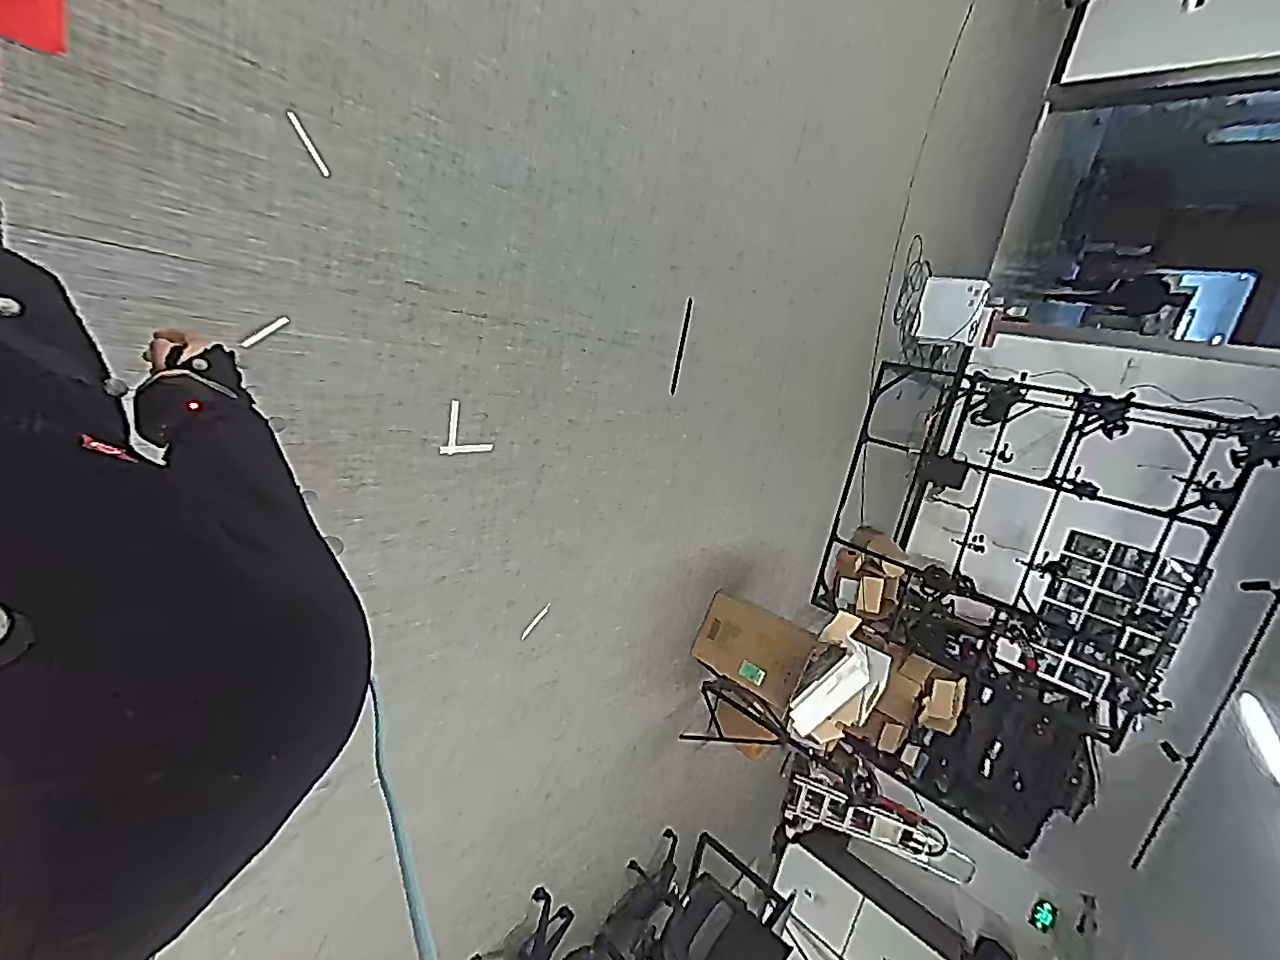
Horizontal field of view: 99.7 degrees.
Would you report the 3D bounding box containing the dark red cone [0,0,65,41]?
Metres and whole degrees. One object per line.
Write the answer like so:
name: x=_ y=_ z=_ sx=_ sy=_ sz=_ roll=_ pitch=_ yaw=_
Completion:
dark red cone: x=-0.809 y=-0.695 z=0.630 sx=0.201 sy=0.394 sz=0.202 roll=-4 pitch=111 yaw=-49
